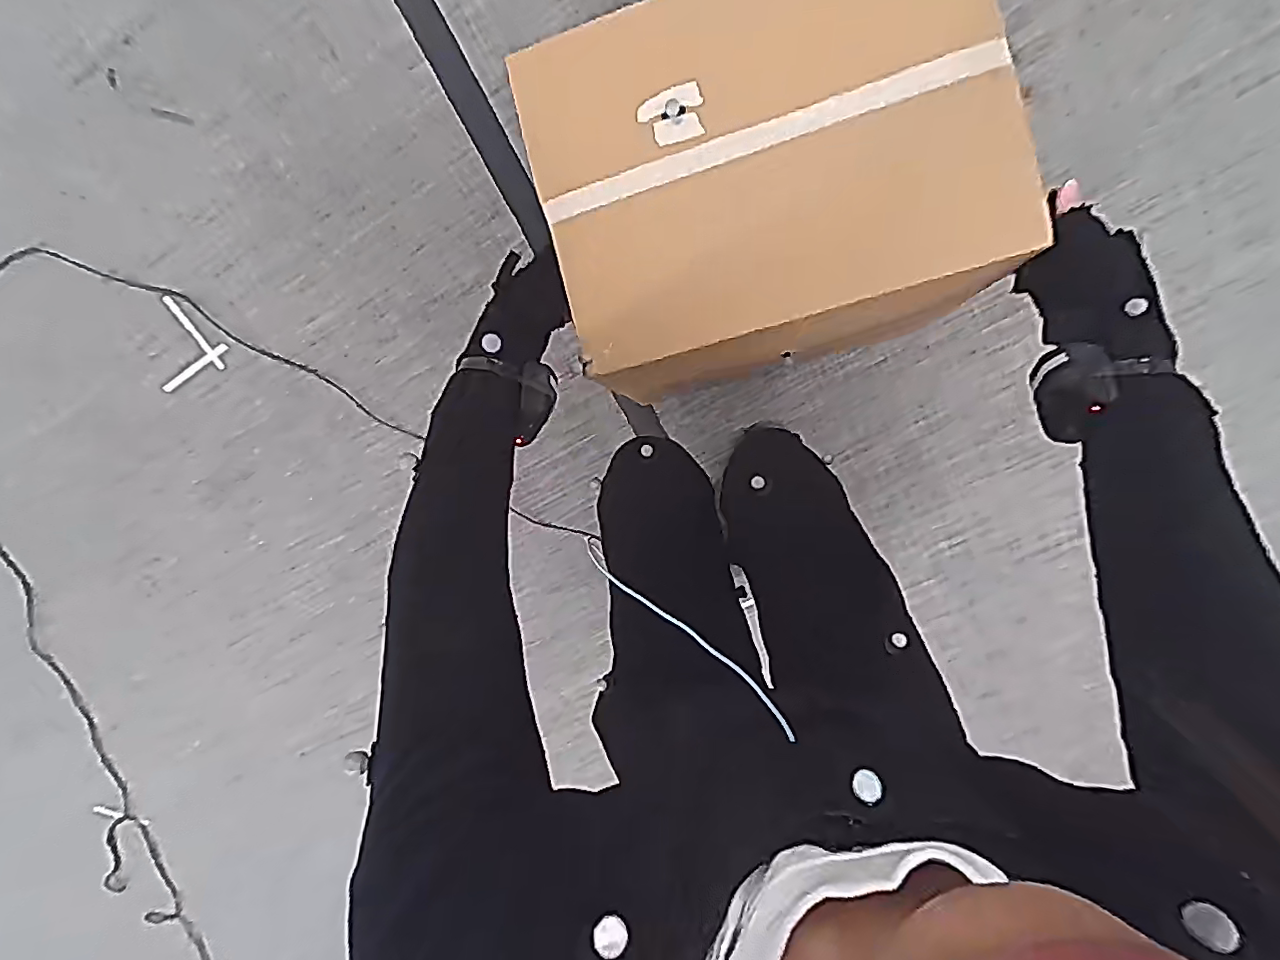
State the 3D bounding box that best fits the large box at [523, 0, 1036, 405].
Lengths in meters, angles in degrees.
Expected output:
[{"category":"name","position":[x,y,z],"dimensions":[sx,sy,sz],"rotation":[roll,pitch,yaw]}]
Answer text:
[{"category":"large box","position":[0.138,-0.300,0.639],"dimensions":[0.408,0.320,0.320],"rotation":[-15,88,11]}]
